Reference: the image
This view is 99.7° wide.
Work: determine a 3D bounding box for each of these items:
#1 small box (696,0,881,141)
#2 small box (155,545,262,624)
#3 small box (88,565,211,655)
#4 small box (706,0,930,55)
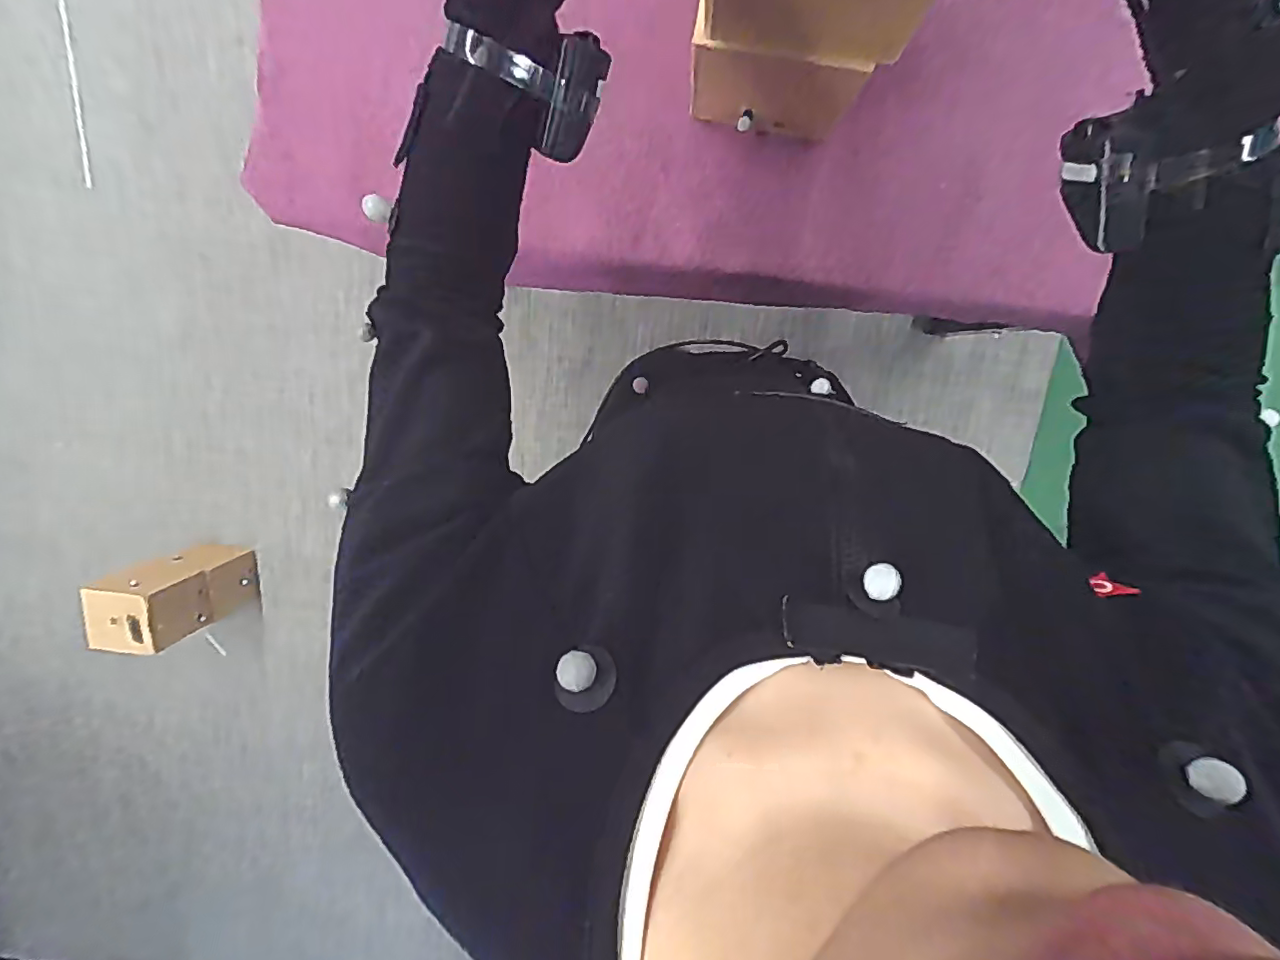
[{"bbox_3d":[0.151,-0.475,0.536,0.168,0.176,0.179,12,104,2],"label":"small box"},{"bbox_3d":[-1.245,0.297,1.571,0.179,0.176,0.168,6,104,3],"label":"small box"},{"bbox_3d":[-1.264,0.333,1.412,0.179,0.176,0.168,6,104,4],"label":"small box"},{"bbox_3d":[0.146,-0.440,0.378,0.179,0.176,0.168,10,103,2],"label":"small box"}]
